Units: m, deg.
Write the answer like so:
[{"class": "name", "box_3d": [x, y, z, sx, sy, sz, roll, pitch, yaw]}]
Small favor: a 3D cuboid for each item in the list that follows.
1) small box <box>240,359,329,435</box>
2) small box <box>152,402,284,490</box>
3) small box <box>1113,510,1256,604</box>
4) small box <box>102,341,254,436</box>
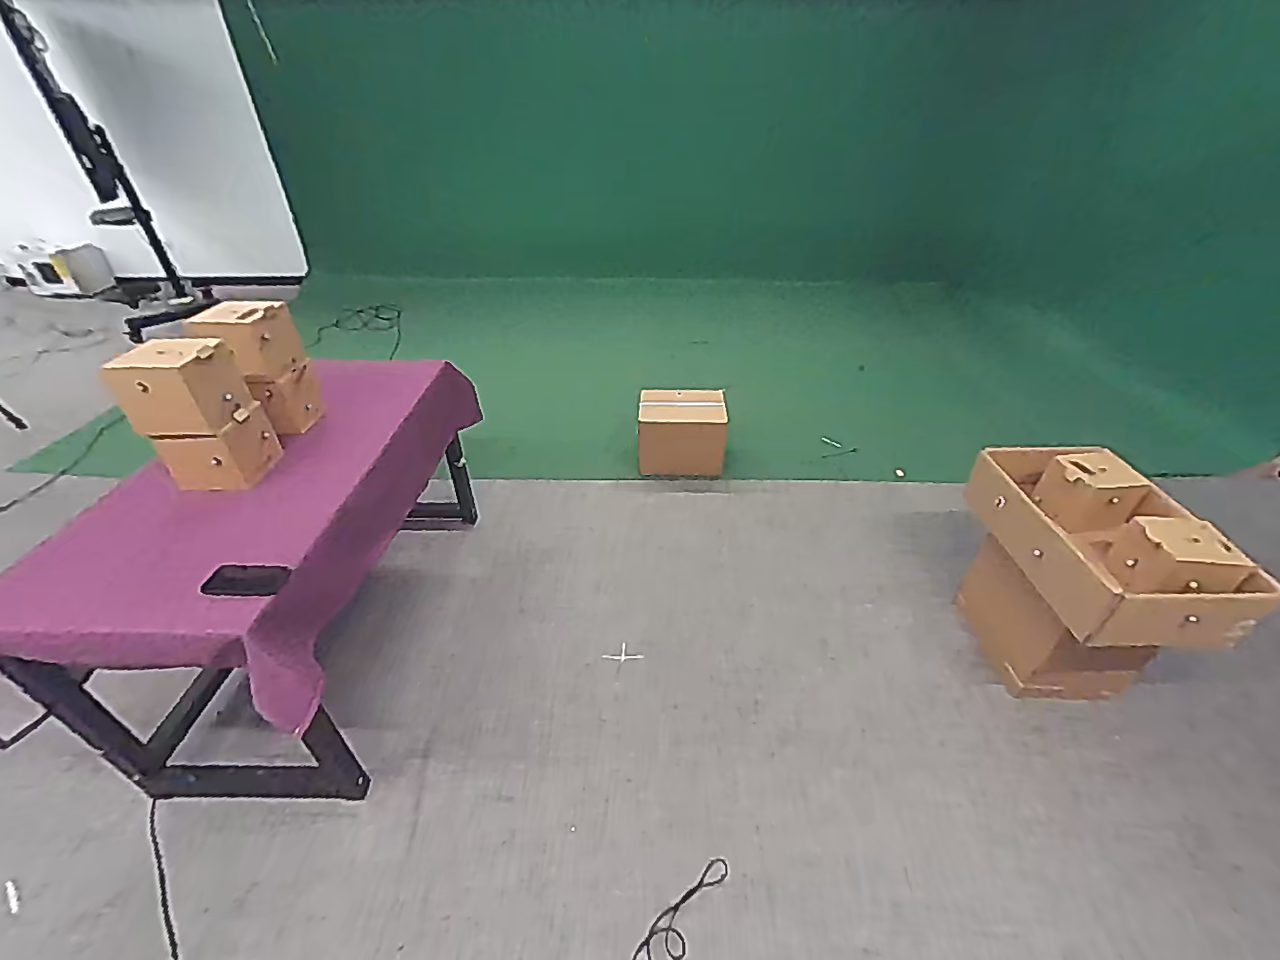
[{"class": "small box", "box_3d": [-1.055, -0.243, 1.579, 0.179, 0.176, 0.168, 0, 36, 0]}, {"class": "small box", "box_3d": [-1.048, -0.085, 1.366, 0.179, 0.176, 0.168, -1, 36, 1]}, {"class": "small box", "box_3d": [1.350, 0.195, 1.364, 0.179, 0.176, 0.168, 3, 37, 7]}, {"class": "small box", "box_3d": [-1.061, -0.212, 1.260, 0.179, 0.176, 0.168, -1, 36, 0]}]
